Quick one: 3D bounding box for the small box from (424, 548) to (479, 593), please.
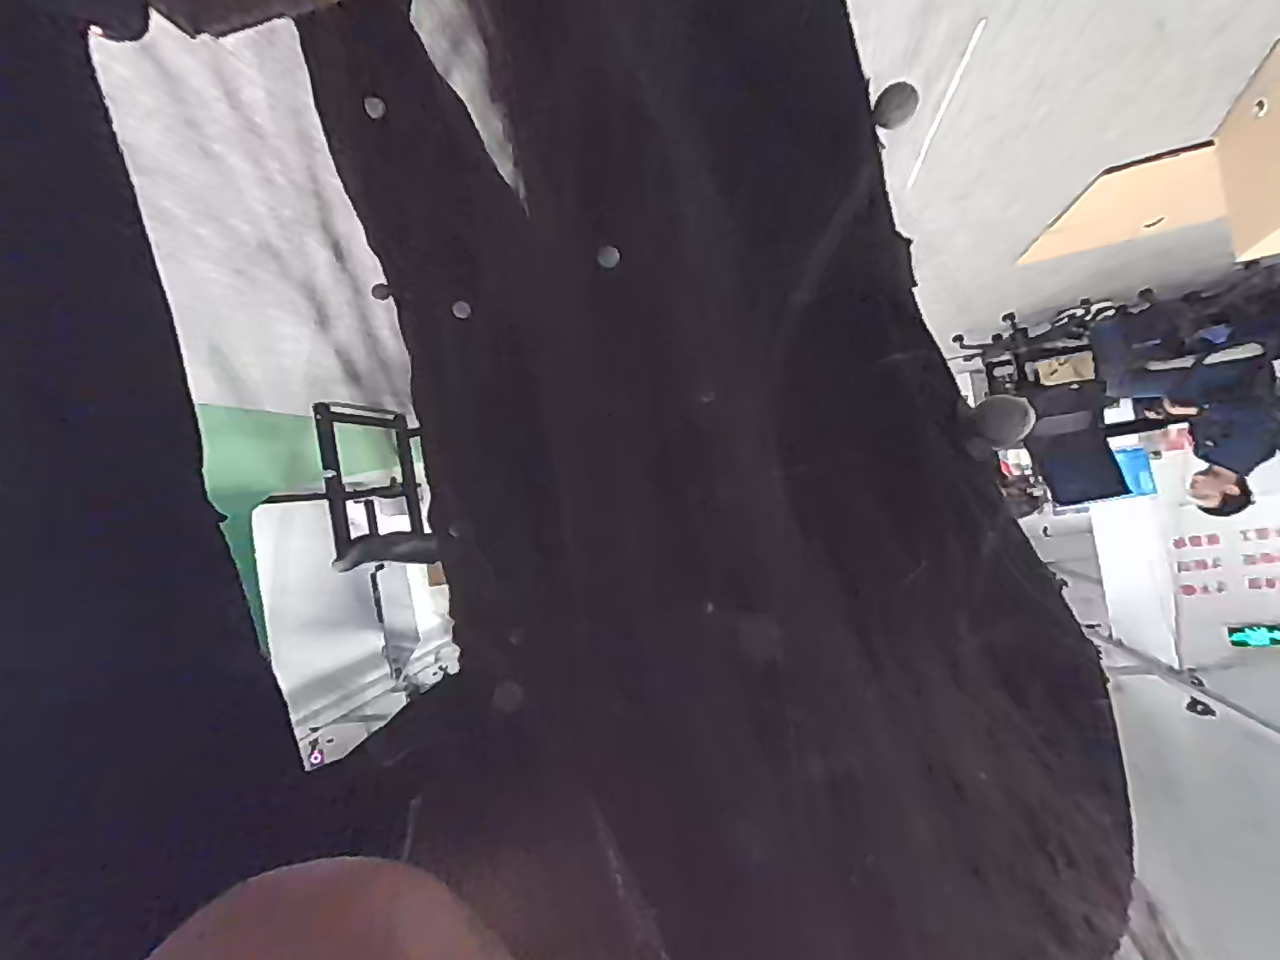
[{"bbox_3d":[-0.878,0.418,2.524,0.168,0.176,0.179,-10,178,16],"label":"small box"}]

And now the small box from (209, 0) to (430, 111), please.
[{"bbox_3d":[-0.285,-0.499,0.491,0.179,0.176,0.168,20,162,-38],"label":"small box"}]
